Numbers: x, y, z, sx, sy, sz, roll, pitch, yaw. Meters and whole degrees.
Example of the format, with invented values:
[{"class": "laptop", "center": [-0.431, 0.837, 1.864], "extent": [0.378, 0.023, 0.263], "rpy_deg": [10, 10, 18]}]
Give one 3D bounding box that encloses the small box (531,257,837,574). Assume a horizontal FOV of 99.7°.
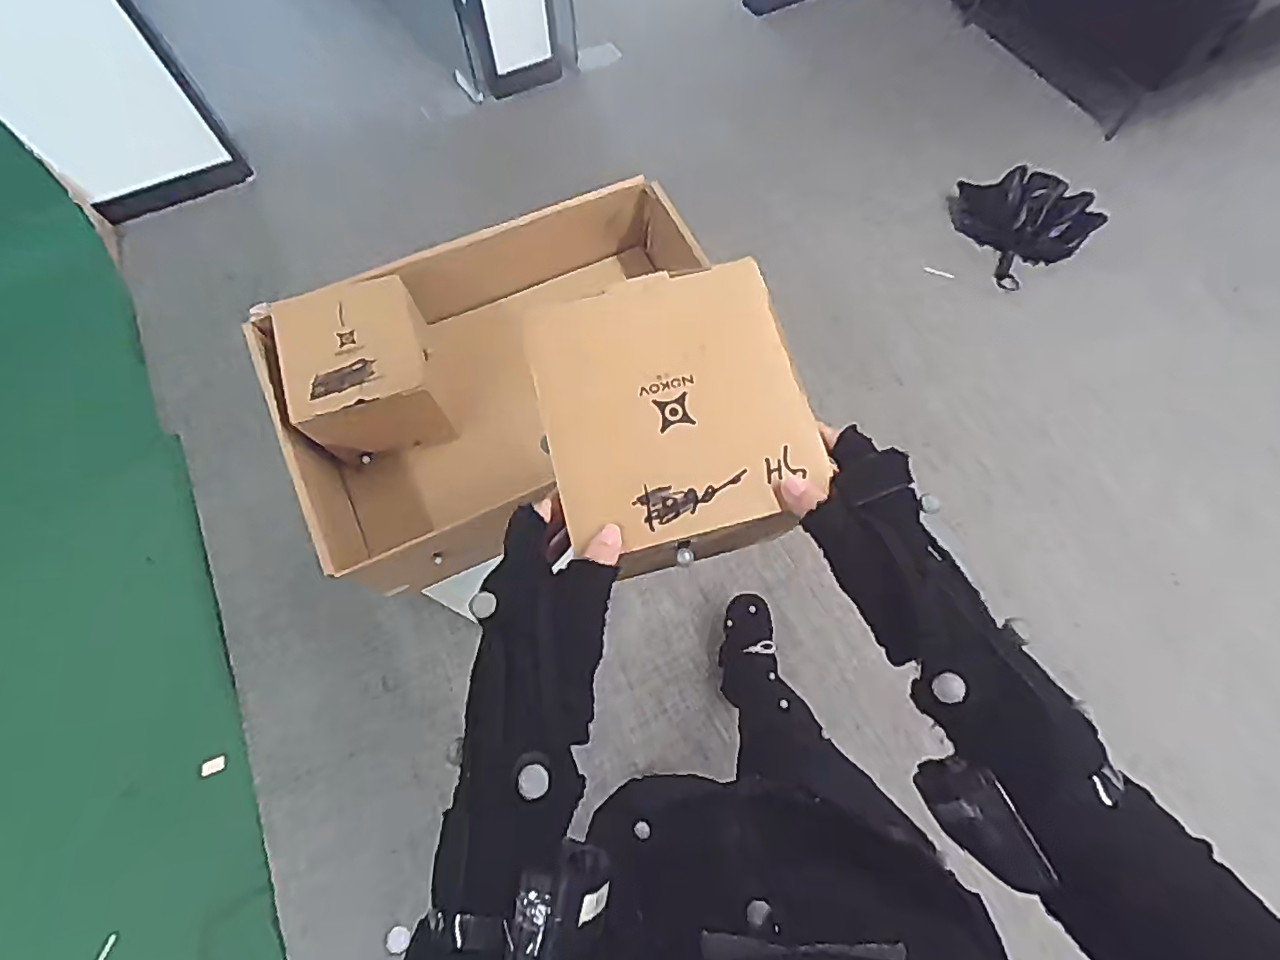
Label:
[{"class": "small box", "center": [0.025, -0.035, 0.427], "extent": [0.168, 0.176, 0.179], "rpy_deg": [-15, 75, -2]}]
